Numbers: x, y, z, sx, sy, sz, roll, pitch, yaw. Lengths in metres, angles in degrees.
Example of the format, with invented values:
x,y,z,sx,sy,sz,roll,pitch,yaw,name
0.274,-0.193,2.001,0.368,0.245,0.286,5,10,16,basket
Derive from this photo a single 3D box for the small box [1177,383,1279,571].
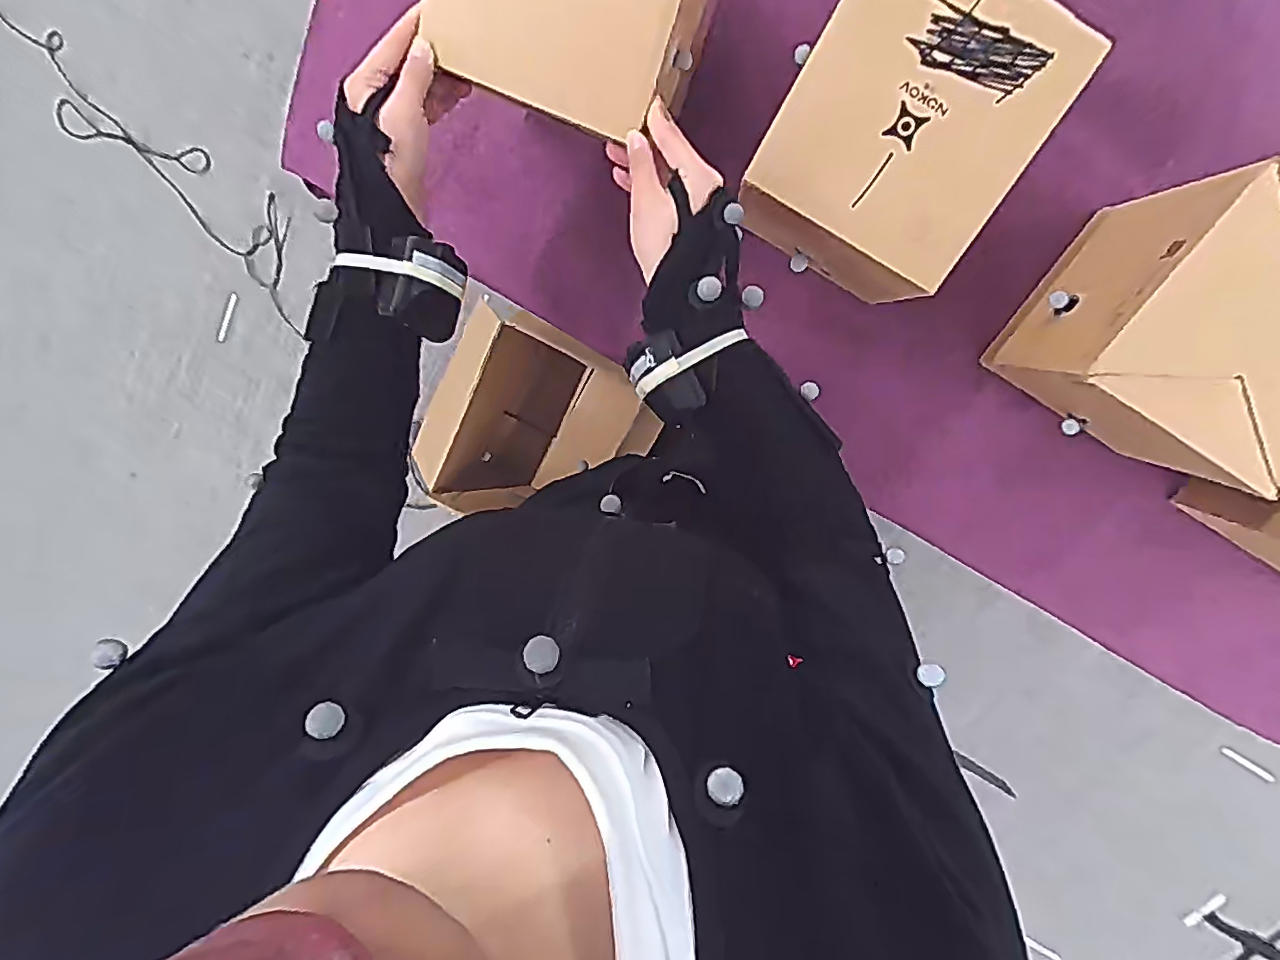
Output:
x,y,z,sx,sy,sz,roll,pitch,yaw,name
0.651,0.018,0.462,0.179,0.176,0.168,32,105,-2,small box

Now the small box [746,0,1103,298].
x,y,z,sx,sy,sz,roll,pitch,yaw,name
0.200,-0.271,0.448,0.168,0.176,0.179,31,108,-2,small box
